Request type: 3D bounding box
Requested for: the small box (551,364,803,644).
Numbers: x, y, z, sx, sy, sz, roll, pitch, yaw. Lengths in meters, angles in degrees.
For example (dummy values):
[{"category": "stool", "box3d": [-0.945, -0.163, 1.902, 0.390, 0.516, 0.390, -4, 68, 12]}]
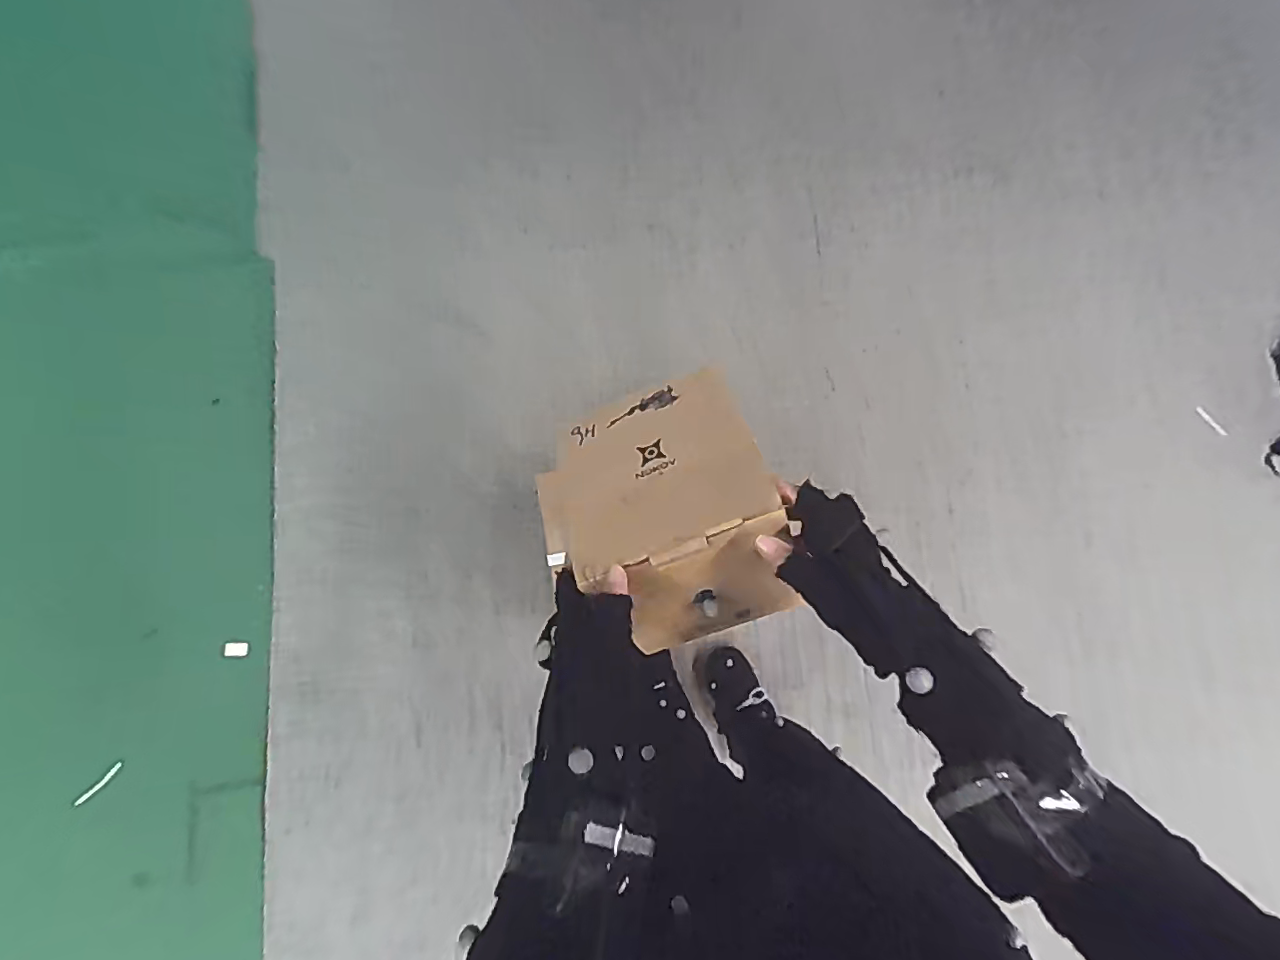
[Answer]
[{"category": "small box", "box3d": [0.036, 0.035, 0.495, 0.168, 0.176, 0.179, -22, 52, 9]}]
